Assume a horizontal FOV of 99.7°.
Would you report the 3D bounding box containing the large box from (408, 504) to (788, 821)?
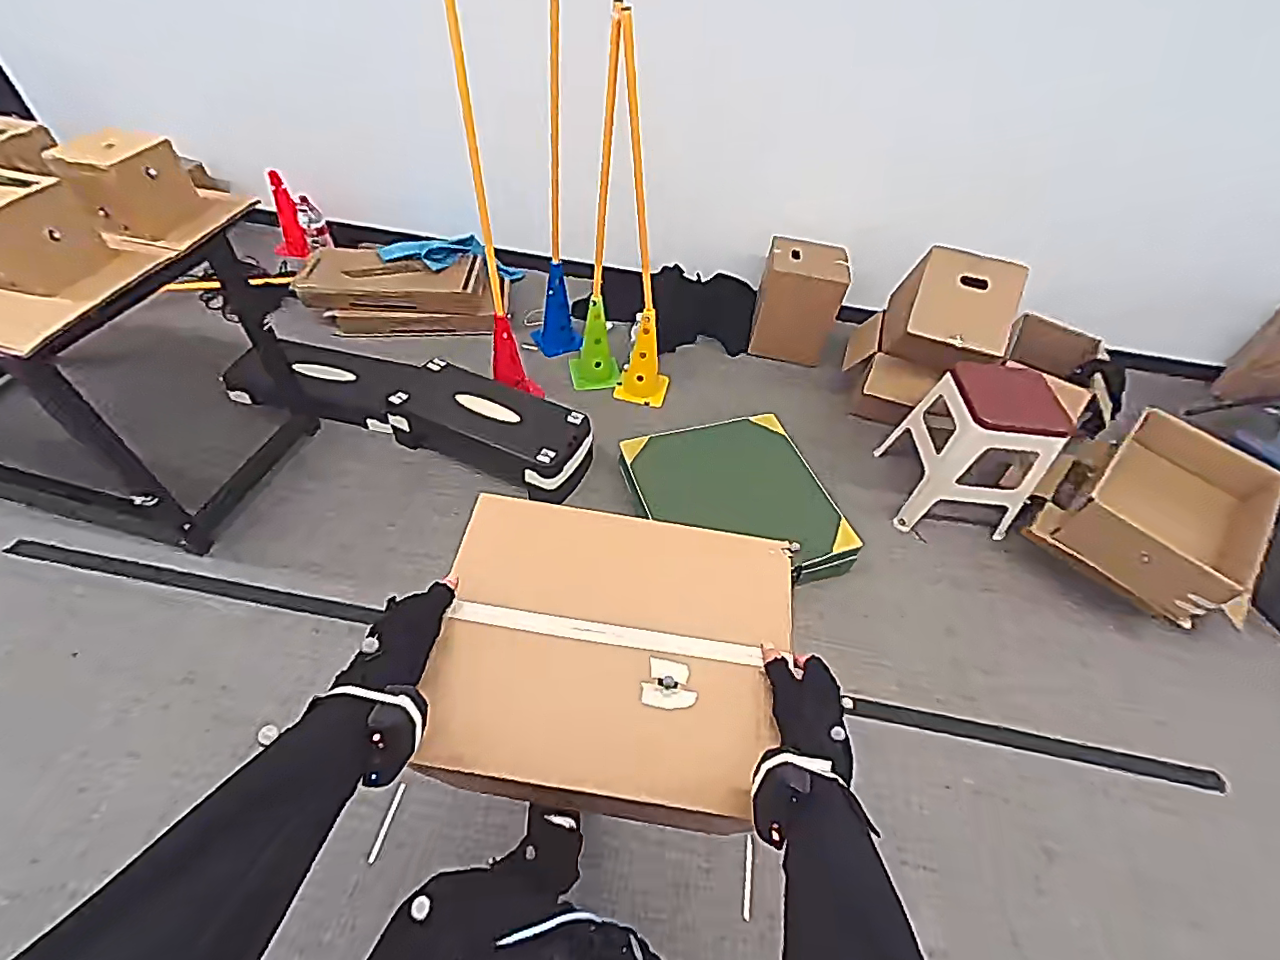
[{"bbox_3d":[-0.041,0.267,0.758,0.408,0.320,0.320,9,56,0],"label":"large box"}]
